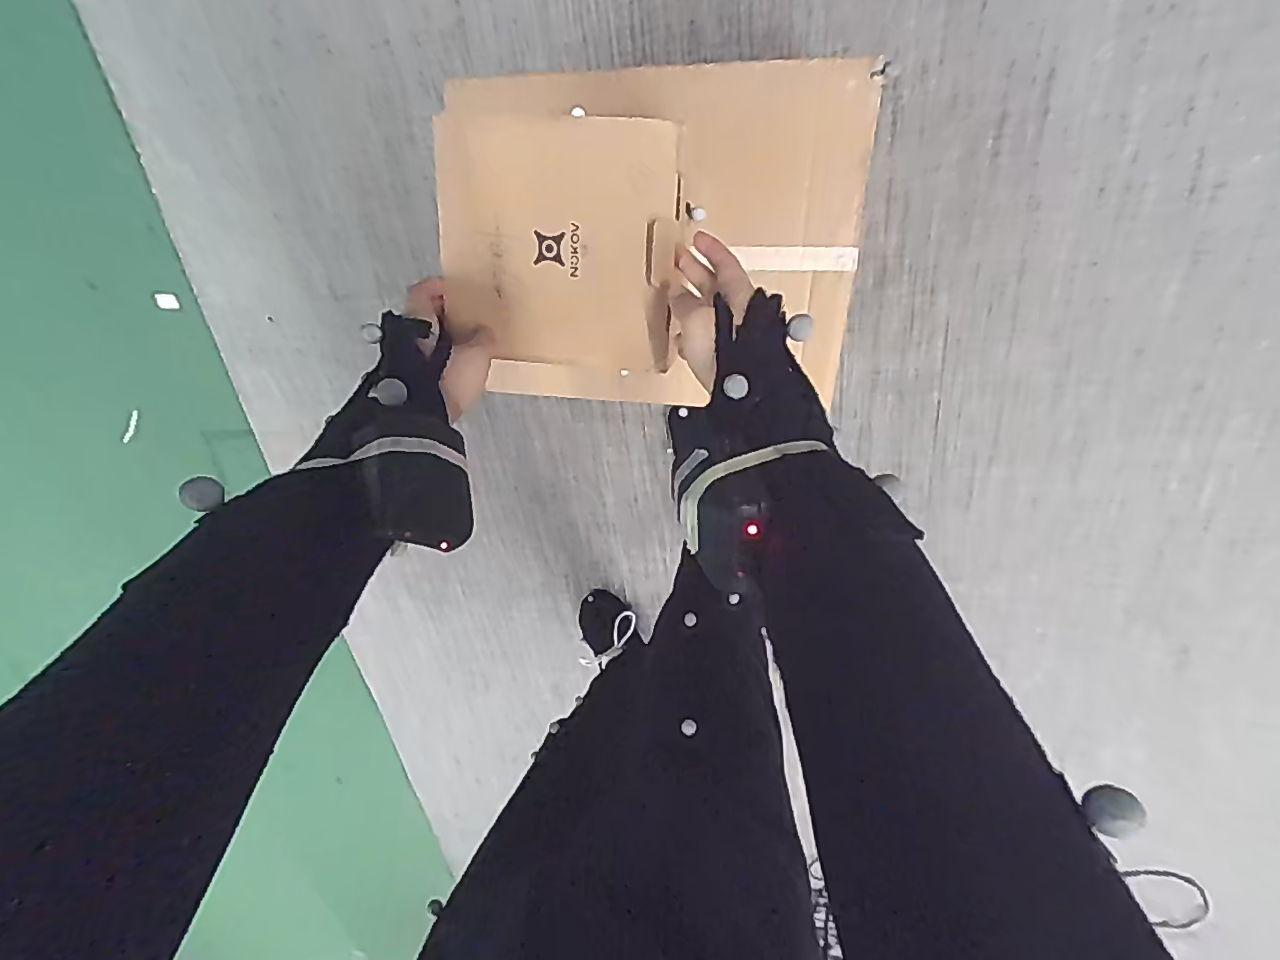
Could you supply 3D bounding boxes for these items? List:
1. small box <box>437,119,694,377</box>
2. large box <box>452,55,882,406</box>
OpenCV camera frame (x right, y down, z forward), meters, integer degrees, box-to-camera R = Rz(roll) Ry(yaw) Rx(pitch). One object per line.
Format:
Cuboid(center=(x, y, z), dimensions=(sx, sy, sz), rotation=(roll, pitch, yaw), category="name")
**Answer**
Cuboid(center=(-0.048, -0.188, 0.464), dimensions=(0.179, 0.176, 0.168), rotation=(6, 109, 7), category="small box")
Cuboid(center=(0.039, -0.292, 0.683), dimensions=(0.408, 0.320, 0.320), rotation=(5, 117, 10), category="large box")
